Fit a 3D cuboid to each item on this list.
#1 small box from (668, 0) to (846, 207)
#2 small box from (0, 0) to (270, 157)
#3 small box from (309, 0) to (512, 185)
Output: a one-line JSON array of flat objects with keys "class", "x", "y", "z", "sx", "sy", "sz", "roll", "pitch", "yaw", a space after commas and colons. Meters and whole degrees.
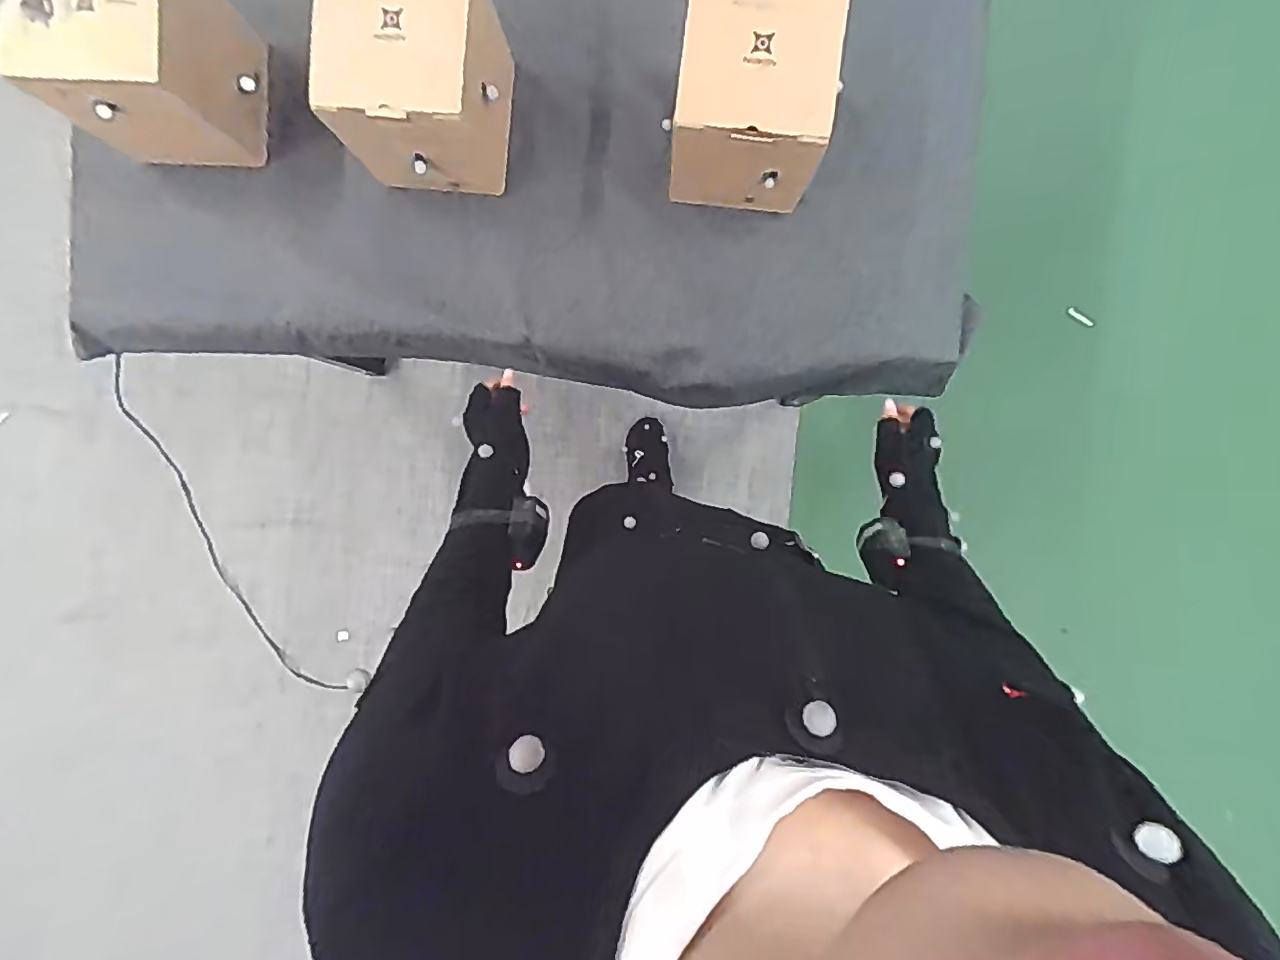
[{"class": "small box", "x": 0.125, "y": -0.449, "z": 0.635, "sx": 0.168, "sy": 0.176, "sz": 0.179, "roll": 6, "pitch": 91, "yaw": 0}, {"class": "small box", "x": -0.587, "y": -0.513, "z": 0.644, "sx": 0.179, "sy": 0.176, "sz": 0.168, "roll": 3, "pitch": 93, "yaw": 0}, {"class": "small box", "x": -0.257, "y": -0.478, "z": 0.640, "sx": 0.168, "sy": 0.176, "sz": 0.179, "roll": 5, "pitch": 93, "yaw": 1}]
